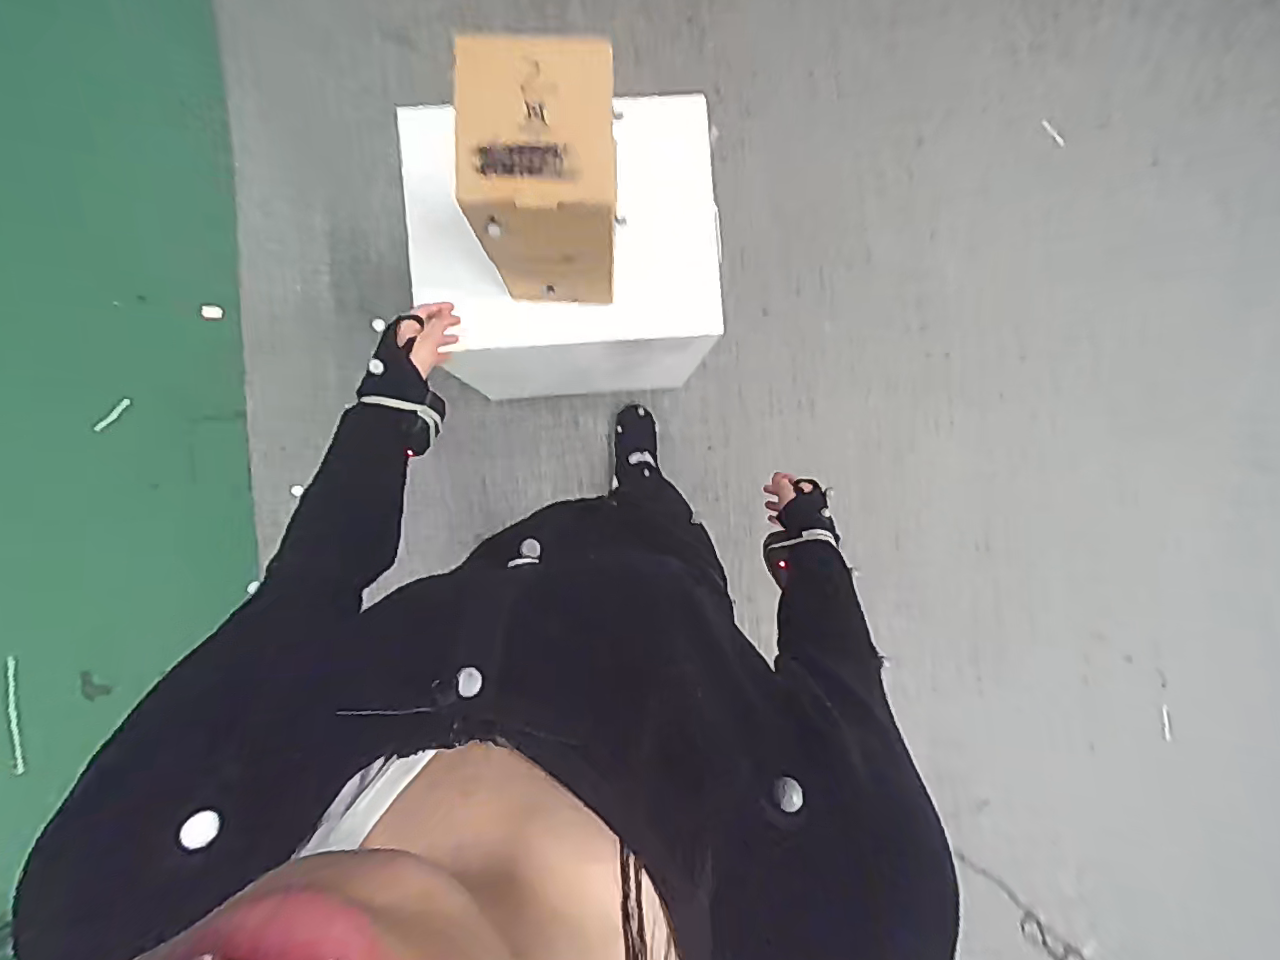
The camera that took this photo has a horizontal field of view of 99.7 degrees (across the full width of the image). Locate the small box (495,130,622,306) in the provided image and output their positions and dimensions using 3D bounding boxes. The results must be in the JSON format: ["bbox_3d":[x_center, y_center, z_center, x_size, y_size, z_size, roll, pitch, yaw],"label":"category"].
[{"bbox_3d":[-0.114,-0.378,0.806,0.168,0.176,0.179,2,90,-3],"label":"small box"}]
